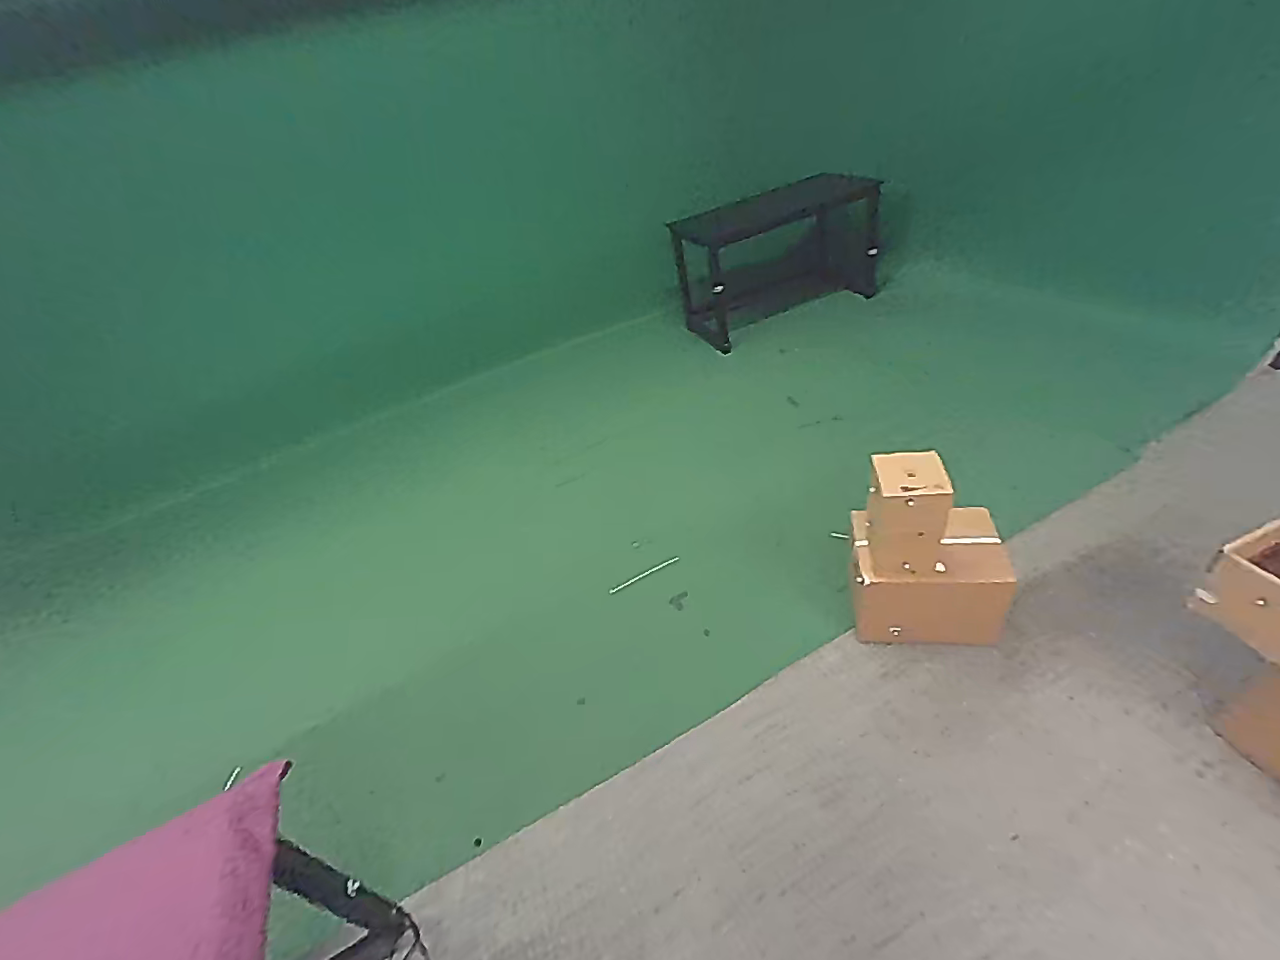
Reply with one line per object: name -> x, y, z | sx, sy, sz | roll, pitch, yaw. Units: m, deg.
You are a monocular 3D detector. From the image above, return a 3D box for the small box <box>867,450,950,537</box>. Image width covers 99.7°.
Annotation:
small box -> 0.728, 0.039, 1.487 | 0.168, 0.176, 0.179 | -3, 39, 14

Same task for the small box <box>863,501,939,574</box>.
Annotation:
small box -> 0.761, 0.157, 1.596 | 0.168, 0.176, 0.179 | -3, 40, 14
